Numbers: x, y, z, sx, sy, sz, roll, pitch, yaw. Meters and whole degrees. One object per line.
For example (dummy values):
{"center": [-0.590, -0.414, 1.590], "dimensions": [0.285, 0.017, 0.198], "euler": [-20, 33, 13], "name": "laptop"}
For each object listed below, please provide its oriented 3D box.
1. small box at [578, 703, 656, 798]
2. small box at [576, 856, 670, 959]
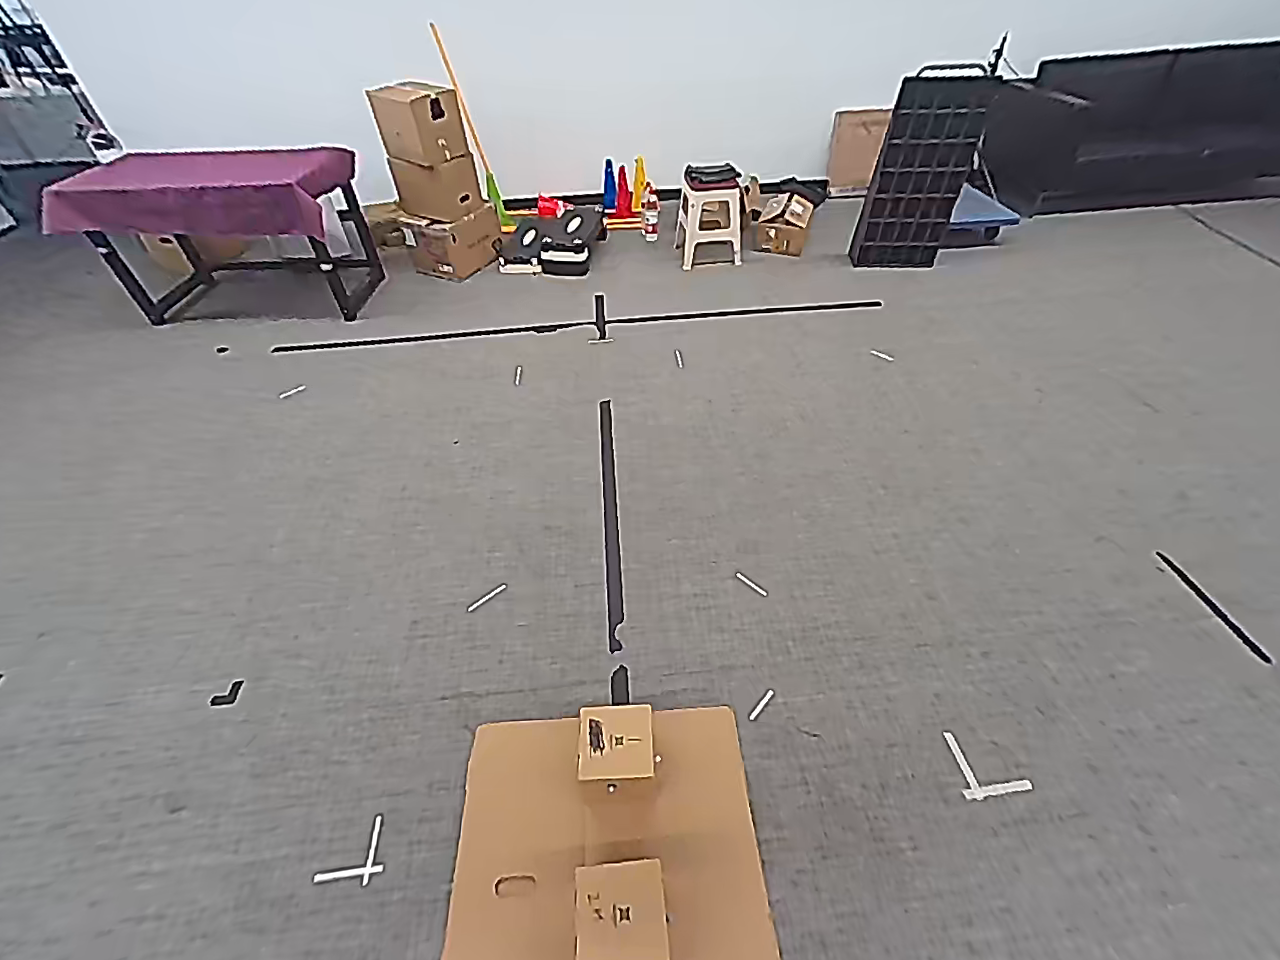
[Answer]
{"center": [-0.053, 0.669, 1.333], "dimensions": [0.179, 0.176, 0.168], "euler": [-2, 44, 0], "name": "small box"}
{"center": [-0.034, 0.890, 1.106], "dimensions": [0.179, 0.176, 0.168], "euler": [-5, 44, -1], "name": "small box"}
